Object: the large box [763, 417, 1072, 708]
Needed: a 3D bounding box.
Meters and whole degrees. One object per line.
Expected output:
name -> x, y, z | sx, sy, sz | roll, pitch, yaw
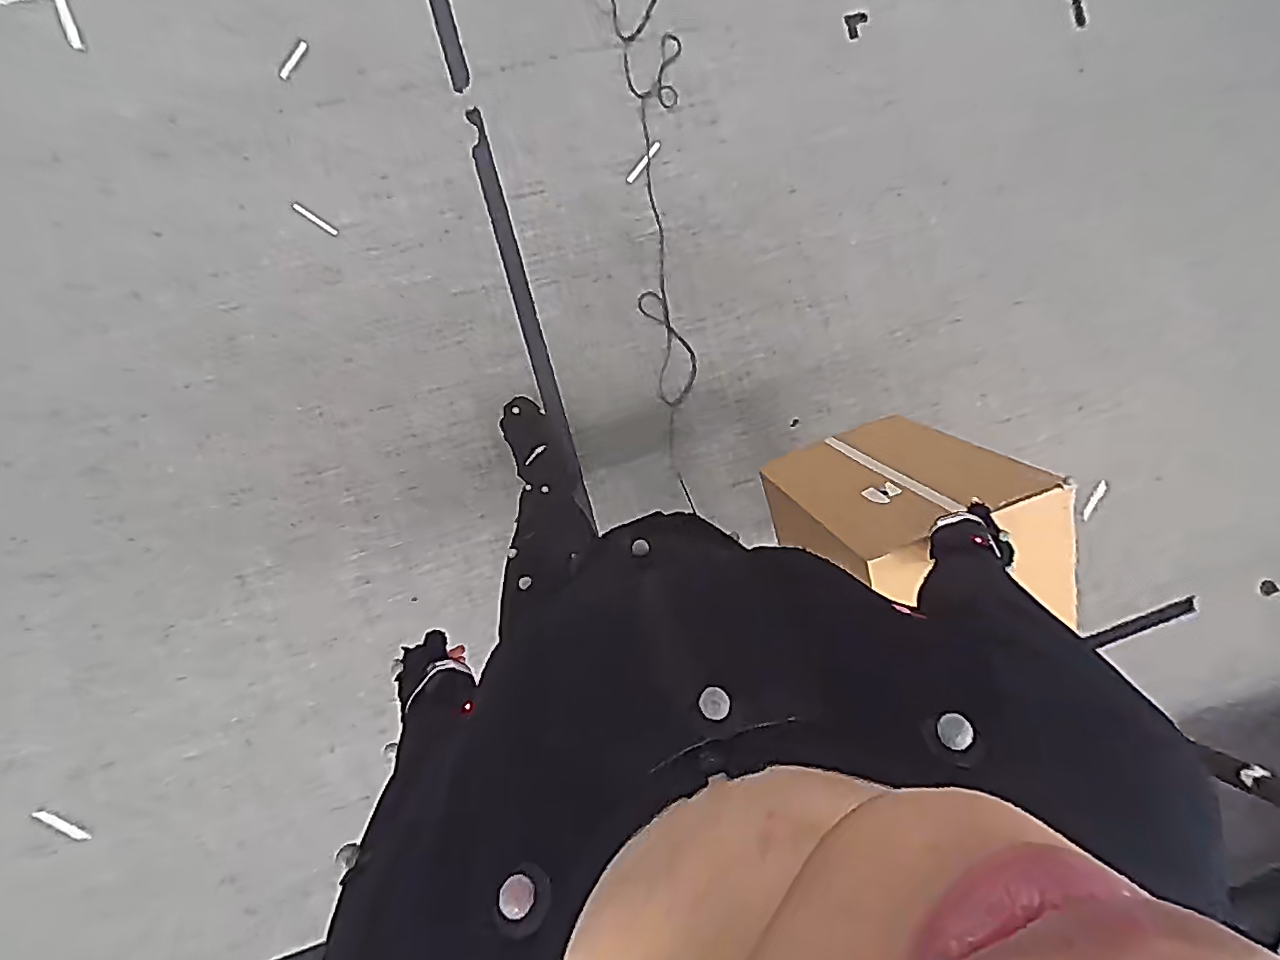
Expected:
large box -> 0.472, 0.118, 0.989 | 0.320, 0.408, 0.320 | -21, 113, -2
